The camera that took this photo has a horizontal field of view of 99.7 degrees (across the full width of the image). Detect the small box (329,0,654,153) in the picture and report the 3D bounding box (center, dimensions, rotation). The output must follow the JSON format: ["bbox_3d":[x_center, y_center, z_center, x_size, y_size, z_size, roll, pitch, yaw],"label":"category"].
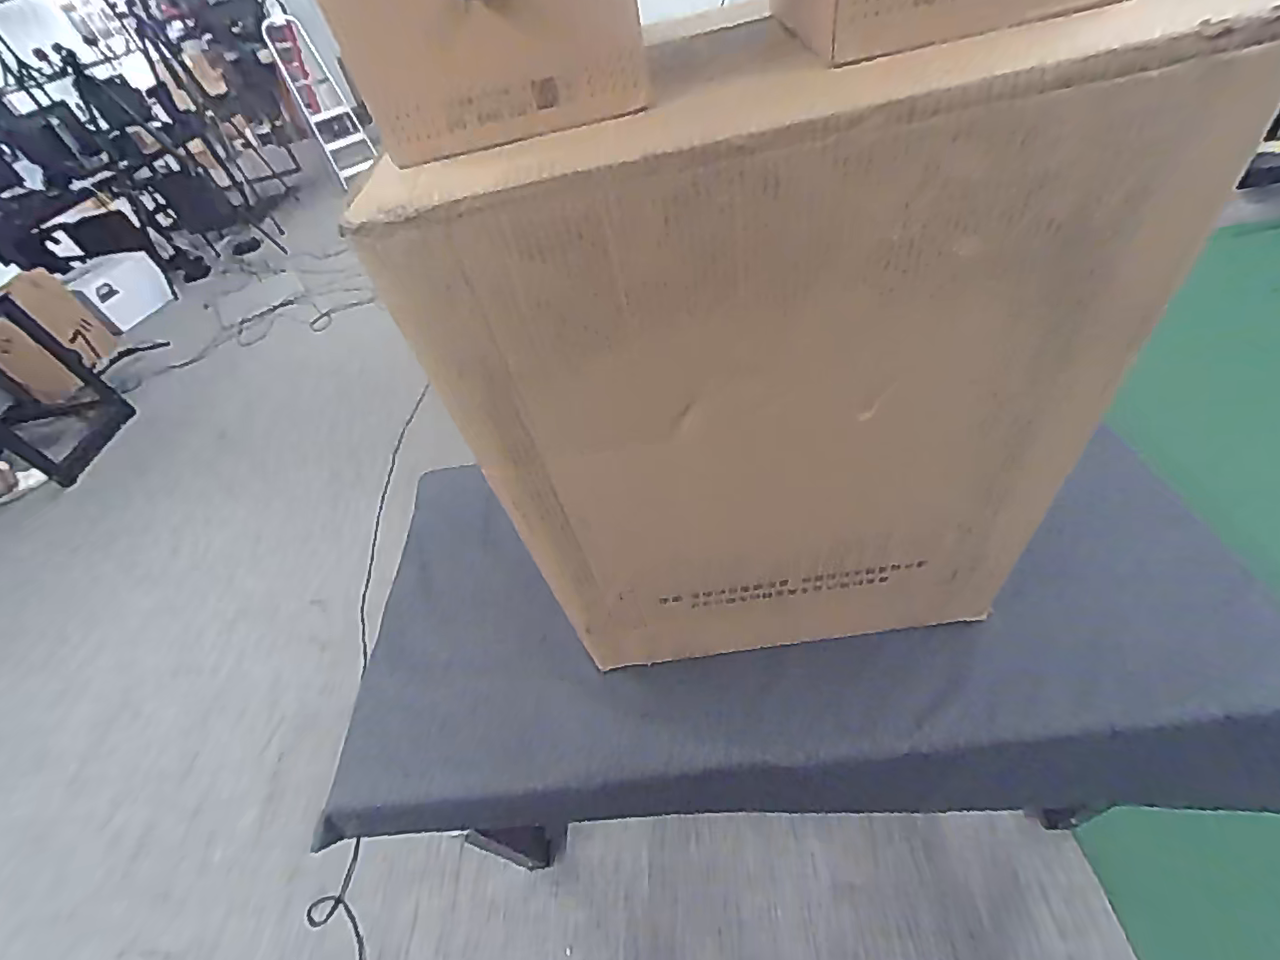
[{"bbox_3d":[-0.088,-0.323,0.328,0.168,0.176,0.179,-9,49,5],"label":"small box"}]
